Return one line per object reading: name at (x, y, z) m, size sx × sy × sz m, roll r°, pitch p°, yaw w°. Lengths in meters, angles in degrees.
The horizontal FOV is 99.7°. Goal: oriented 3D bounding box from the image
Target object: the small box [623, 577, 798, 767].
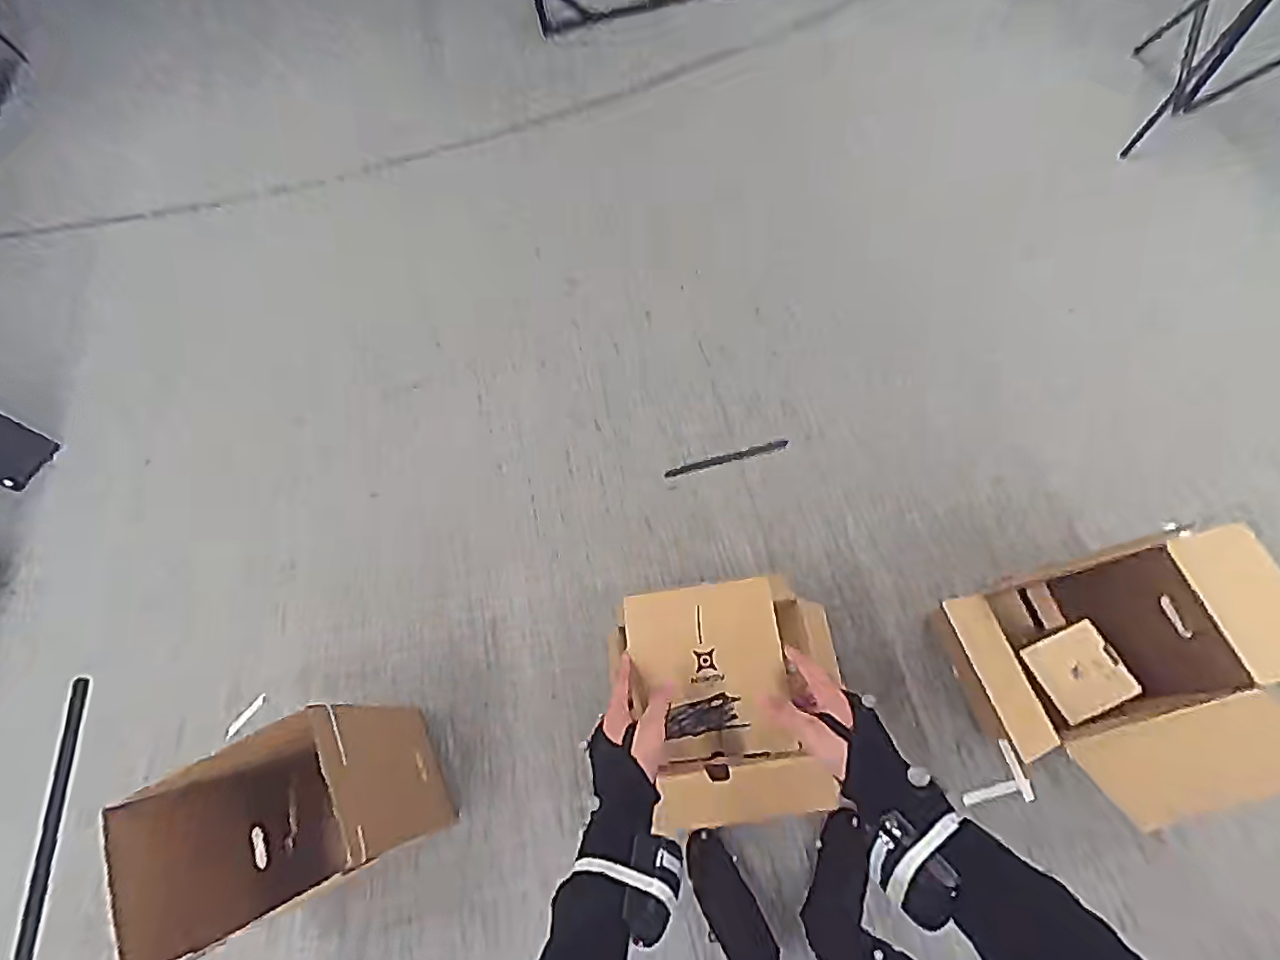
small box at (0.086, 0.221, 0.640) m, size 0.168 × 0.176 × 0.179 m, roll -11°, pitch 71°, yaw 9°
